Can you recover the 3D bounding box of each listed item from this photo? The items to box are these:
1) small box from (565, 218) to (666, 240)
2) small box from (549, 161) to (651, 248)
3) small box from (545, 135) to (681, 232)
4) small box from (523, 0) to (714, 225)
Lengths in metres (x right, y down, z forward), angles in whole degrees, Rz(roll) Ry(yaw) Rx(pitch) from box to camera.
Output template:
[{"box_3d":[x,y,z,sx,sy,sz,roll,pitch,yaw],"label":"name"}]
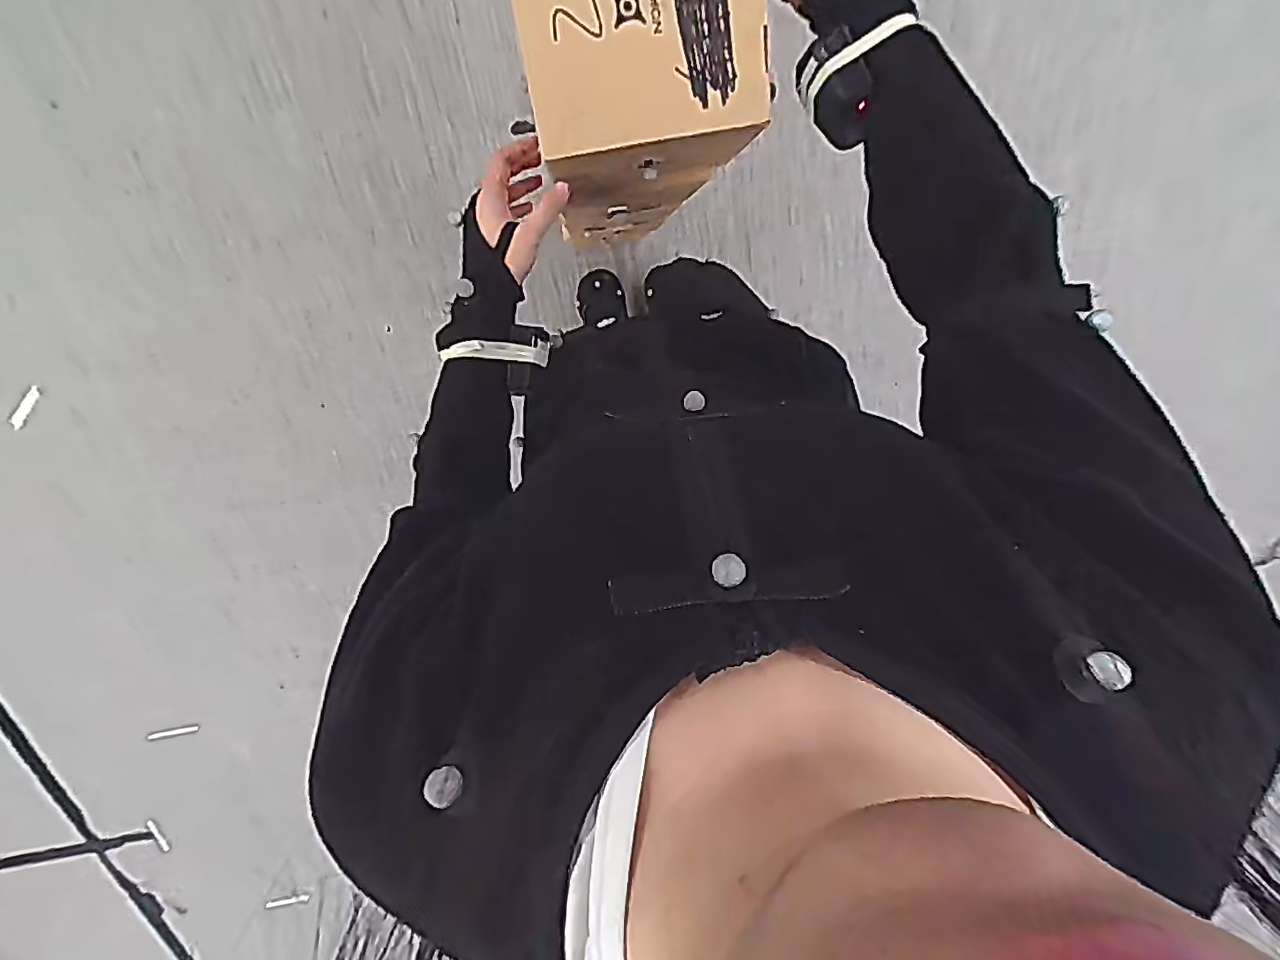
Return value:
[{"box_3d":[-0.052,-0.506,0.910,0.168,0.176,0.179,-8,111,-2],"label":"small box"},{"box_3d":[-0.075,-0.558,1.063,0.179,0.176,0.168,-8,111,-2],"label":"small box"},{"box_3d":[-0.041,-0.452,0.755,0.168,0.176,0.179,-9,110,-2],"label":"small box"},{"box_3d":[-0.023,-0.398,0.603,0.168,0.176,0.179,-11,112,0],"label":"small box"}]
